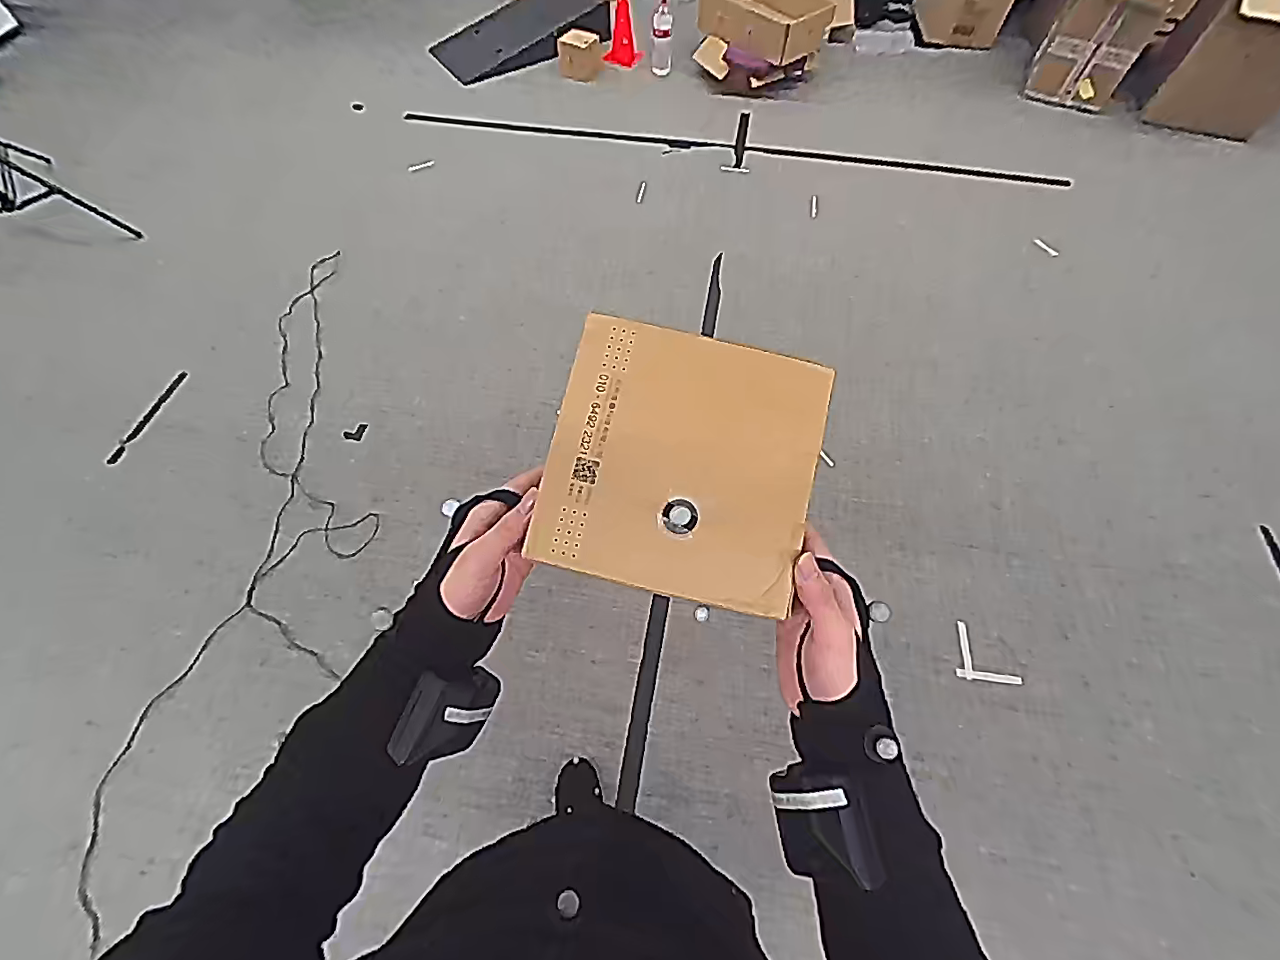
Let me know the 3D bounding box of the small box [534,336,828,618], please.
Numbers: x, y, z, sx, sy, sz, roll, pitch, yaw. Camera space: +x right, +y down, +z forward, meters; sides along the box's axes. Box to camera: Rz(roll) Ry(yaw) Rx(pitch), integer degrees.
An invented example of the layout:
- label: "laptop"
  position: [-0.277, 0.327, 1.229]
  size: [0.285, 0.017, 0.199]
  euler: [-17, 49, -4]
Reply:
- label: "small box"
  position: [0.025, 0.003, 0.428]
  size: [0.176, 0.179, 0.168]
  euler: [15, 81, 2]
